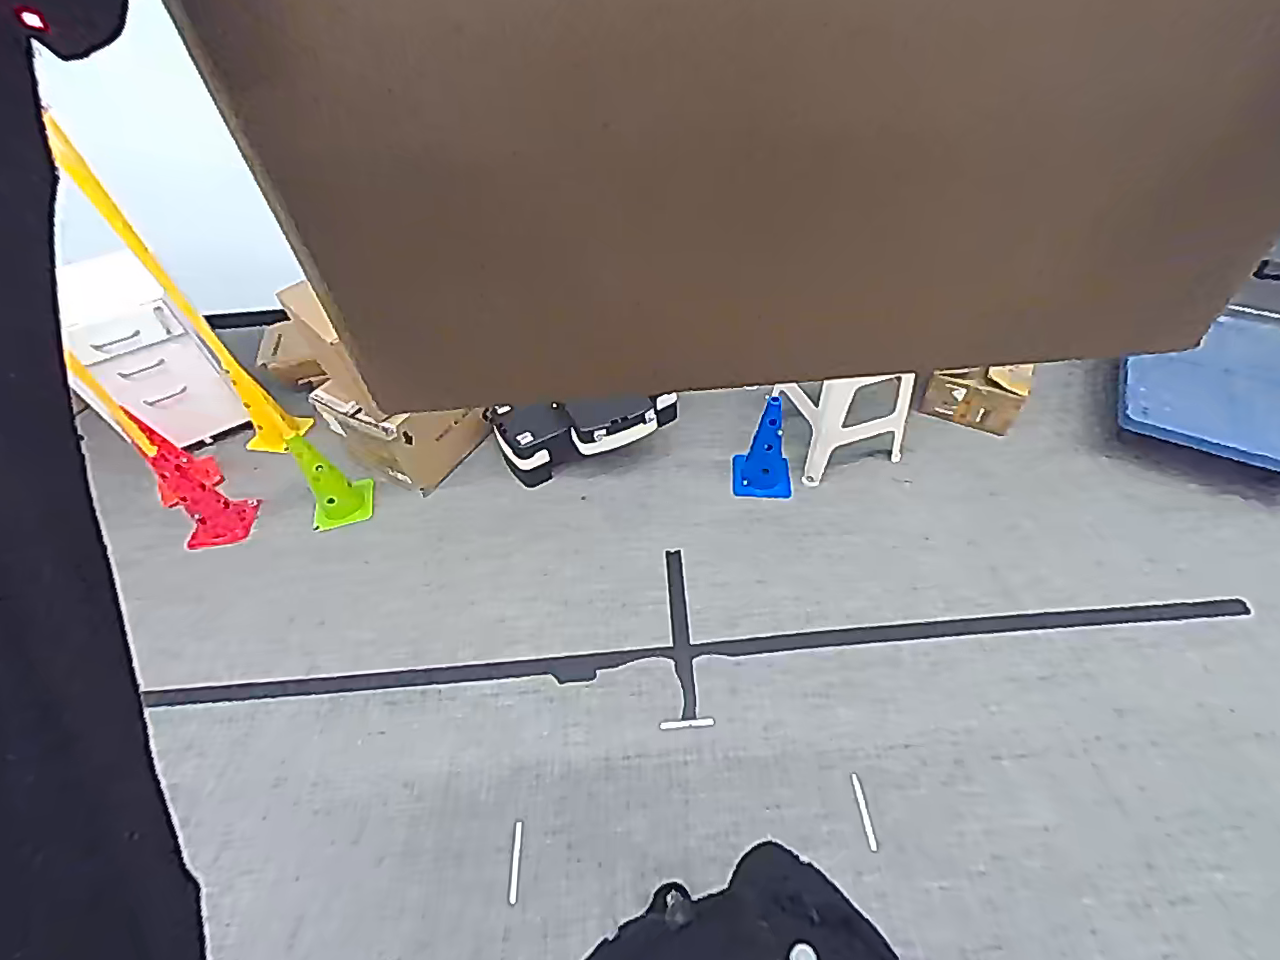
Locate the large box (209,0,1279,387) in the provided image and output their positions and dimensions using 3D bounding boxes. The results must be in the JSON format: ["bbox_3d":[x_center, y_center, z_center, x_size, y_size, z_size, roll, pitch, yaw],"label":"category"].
[{"bbox_3d":[0.051,-0.269,0.272,0.408,0.320,0.320,-4,46,-1],"label":"large box"}]
